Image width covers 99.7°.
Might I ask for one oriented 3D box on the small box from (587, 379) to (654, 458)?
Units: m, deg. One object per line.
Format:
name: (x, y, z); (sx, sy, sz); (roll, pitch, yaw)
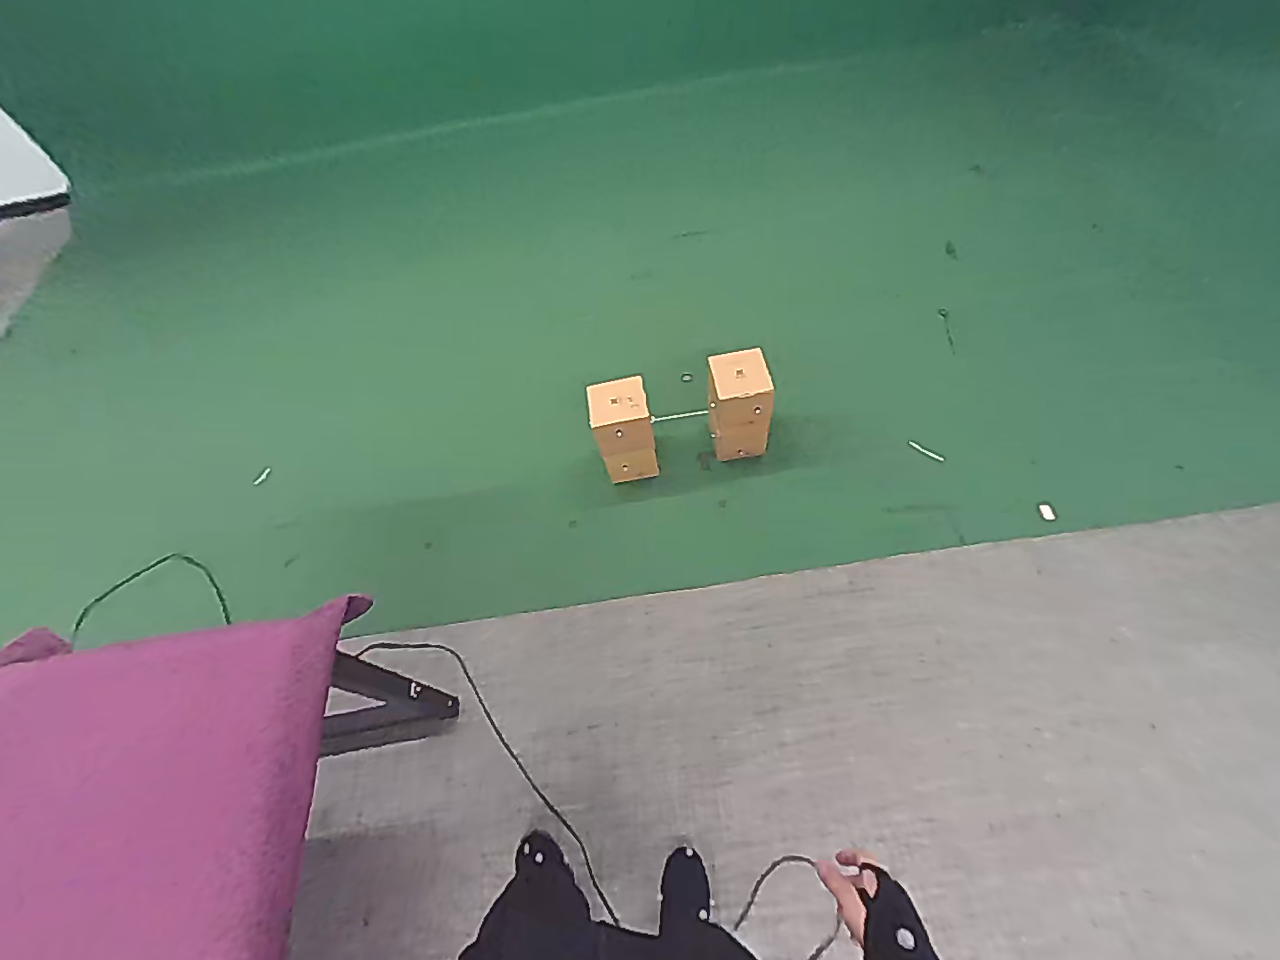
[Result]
small box: (-0.059, -0.186, 1.687); (0.179, 0.176, 0.168); (-10, 58, 1)

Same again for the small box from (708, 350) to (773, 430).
small box: (0.309, -0.273, 1.684); (0.168, 0.176, 0.179); (-10, 58, 1)

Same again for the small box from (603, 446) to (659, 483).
small box: (-0.035, -0.106, 1.828); (0.168, 0.176, 0.179); (-11, 57, 2)
